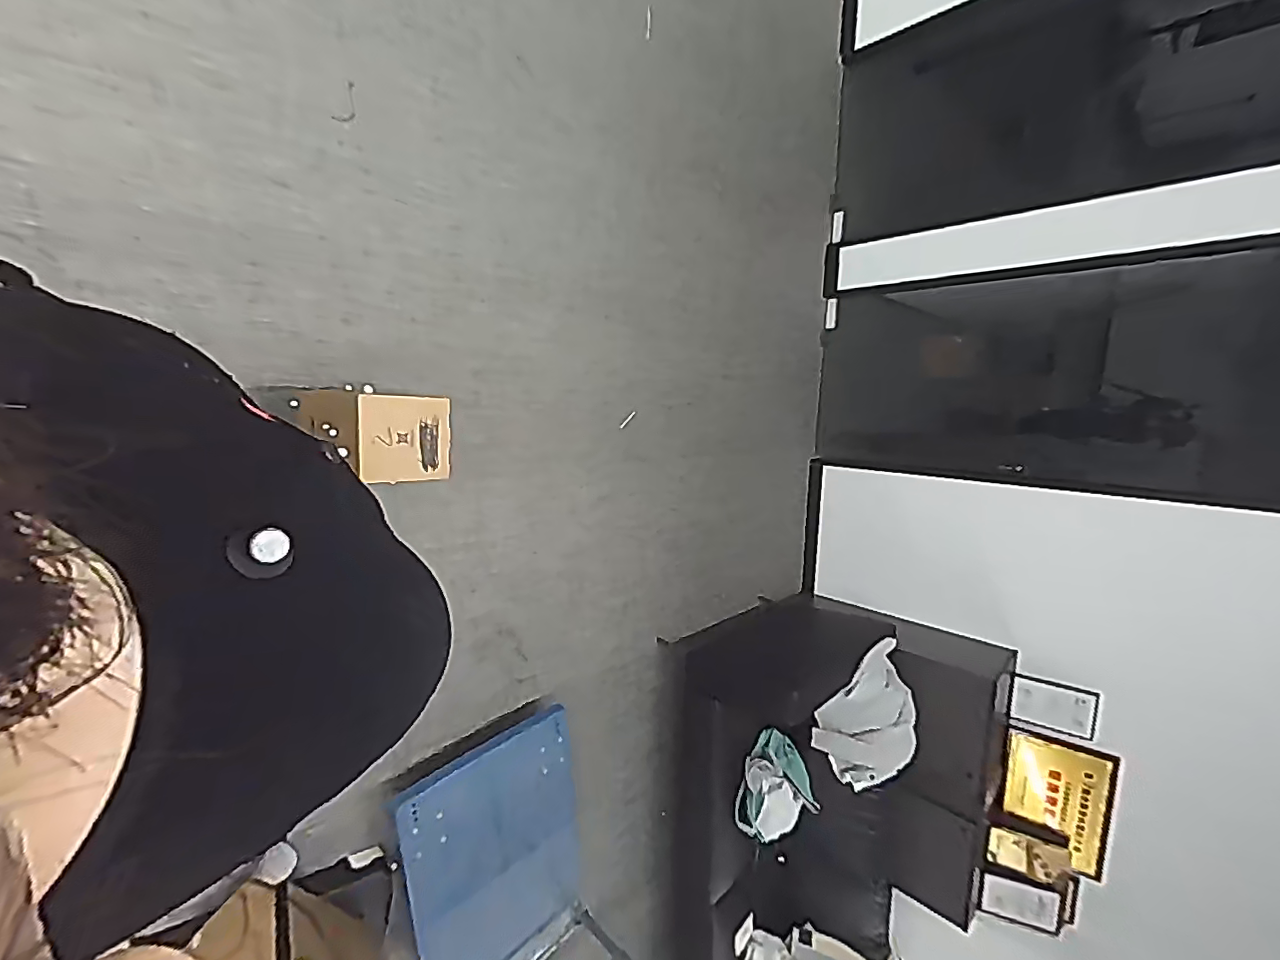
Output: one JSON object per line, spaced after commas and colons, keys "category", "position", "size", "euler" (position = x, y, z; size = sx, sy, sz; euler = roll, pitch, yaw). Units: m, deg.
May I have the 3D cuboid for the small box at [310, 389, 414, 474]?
{"category": "small box", "position": [-0.623, -0.111, 1.209], "size": [0.168, 0.176, 0.179], "euler": [-4, 101, -45]}

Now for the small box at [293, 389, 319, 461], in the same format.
{"category": "small box", "position": [-0.736, -0.135, 1.327], "size": [0.179, 0.176, 0.168], "euler": [-5, 101, -46]}
